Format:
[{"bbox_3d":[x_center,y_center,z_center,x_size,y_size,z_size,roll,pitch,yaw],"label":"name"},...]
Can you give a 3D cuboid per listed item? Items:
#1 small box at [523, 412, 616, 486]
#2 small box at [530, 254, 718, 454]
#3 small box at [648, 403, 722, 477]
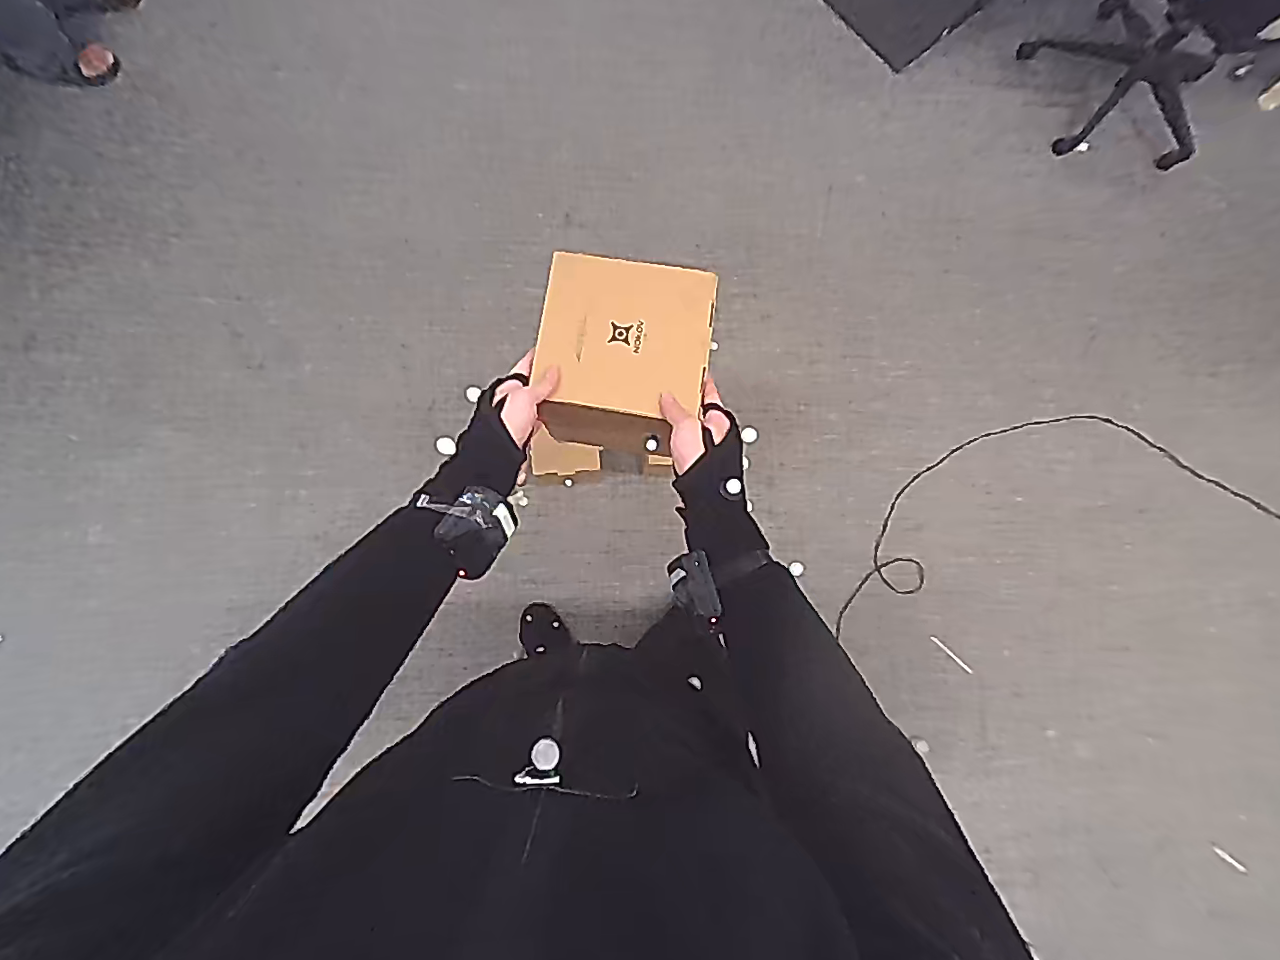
[{"bbox_3d":[-0.174,-0.102,1.404,0.179,0.176,0.168,-35,82,-7],"label":"small box"},{"bbox_3d":[-0.012,-0.135,0.640,0.179,0.176,0.168,8,78,4],"label":"small box"},{"bbox_3d":[0.113,-0.104,1.424,0.179,0.176,0.168,3,82,-2],"label":"small box"}]
